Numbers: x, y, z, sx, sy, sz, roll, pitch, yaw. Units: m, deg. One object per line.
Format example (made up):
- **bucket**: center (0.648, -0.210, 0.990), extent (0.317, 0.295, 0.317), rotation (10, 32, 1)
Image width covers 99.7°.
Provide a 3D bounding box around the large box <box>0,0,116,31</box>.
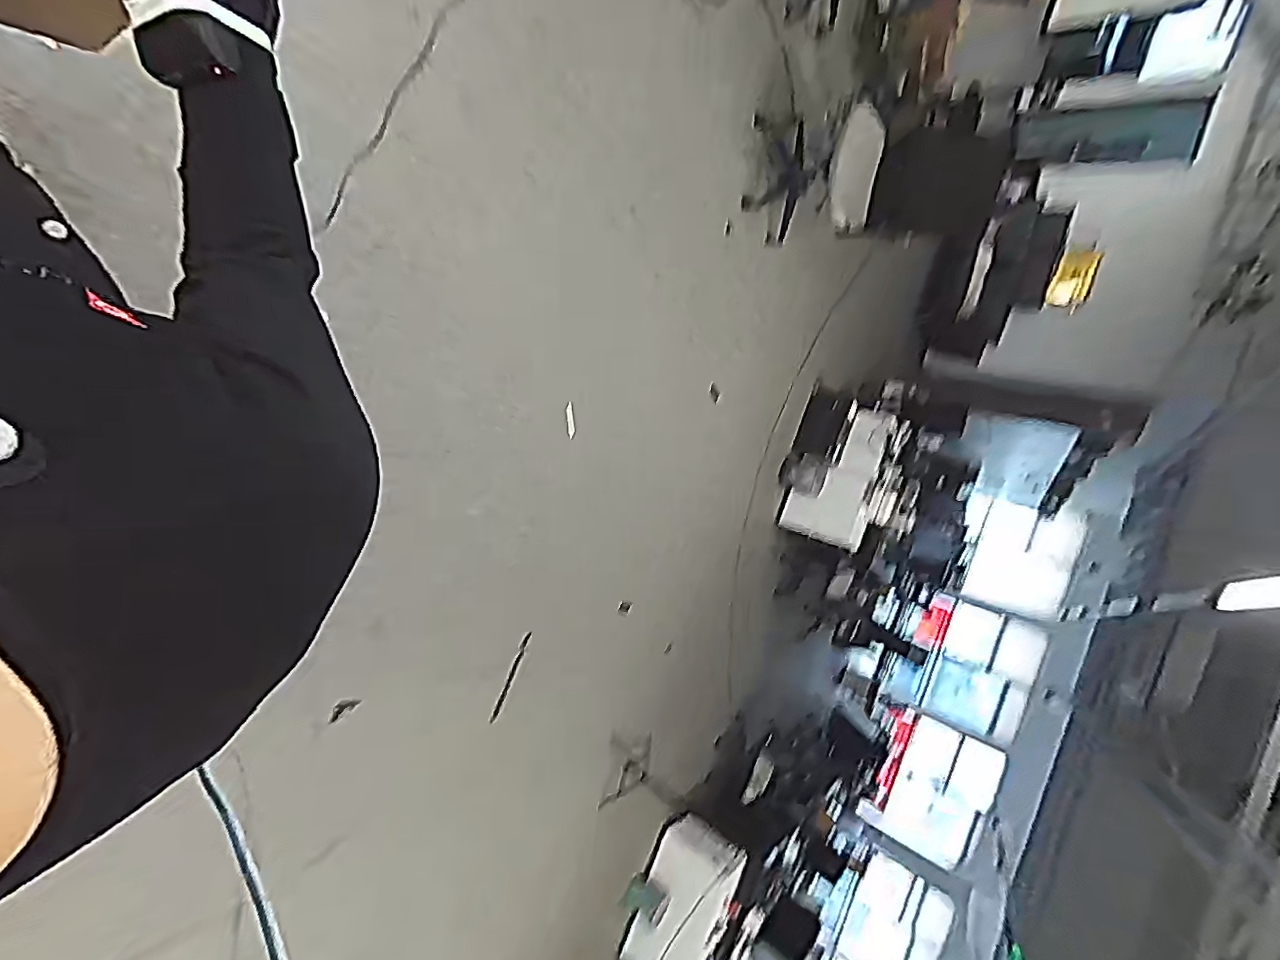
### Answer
- **large box**: center (-0.551, -0.503, 0.259), extent (0.408, 0.320, 0.320), rotation (-17, 122, -49)
